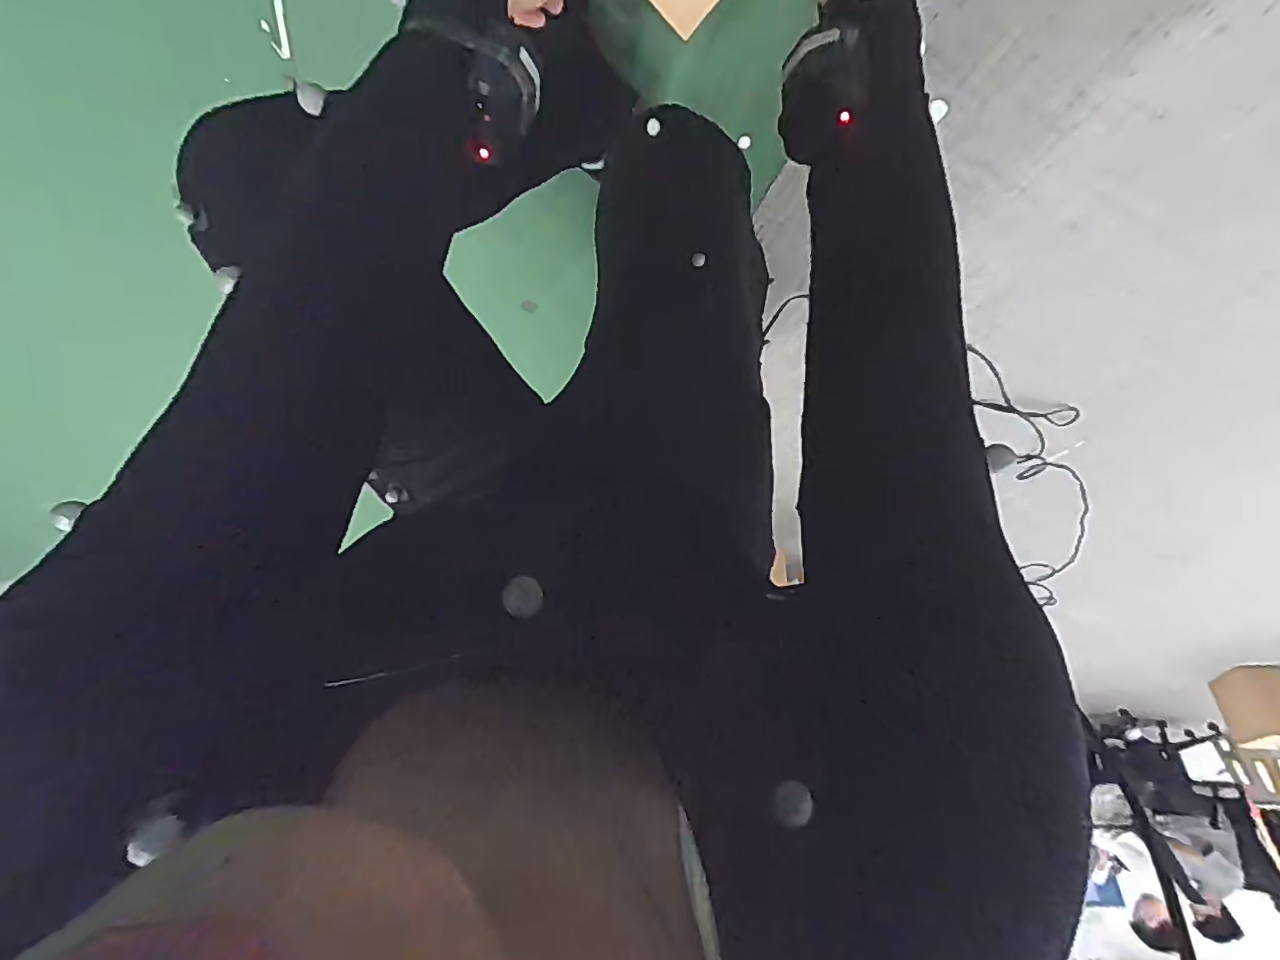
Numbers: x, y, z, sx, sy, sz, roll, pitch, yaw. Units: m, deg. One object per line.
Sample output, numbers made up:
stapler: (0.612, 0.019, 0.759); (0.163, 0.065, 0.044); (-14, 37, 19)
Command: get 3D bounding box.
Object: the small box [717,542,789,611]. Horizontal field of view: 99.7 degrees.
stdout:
small box: (0.371, 0.319, 1.804); (0.179, 0.176, 0.168); (27, 142, -34)
